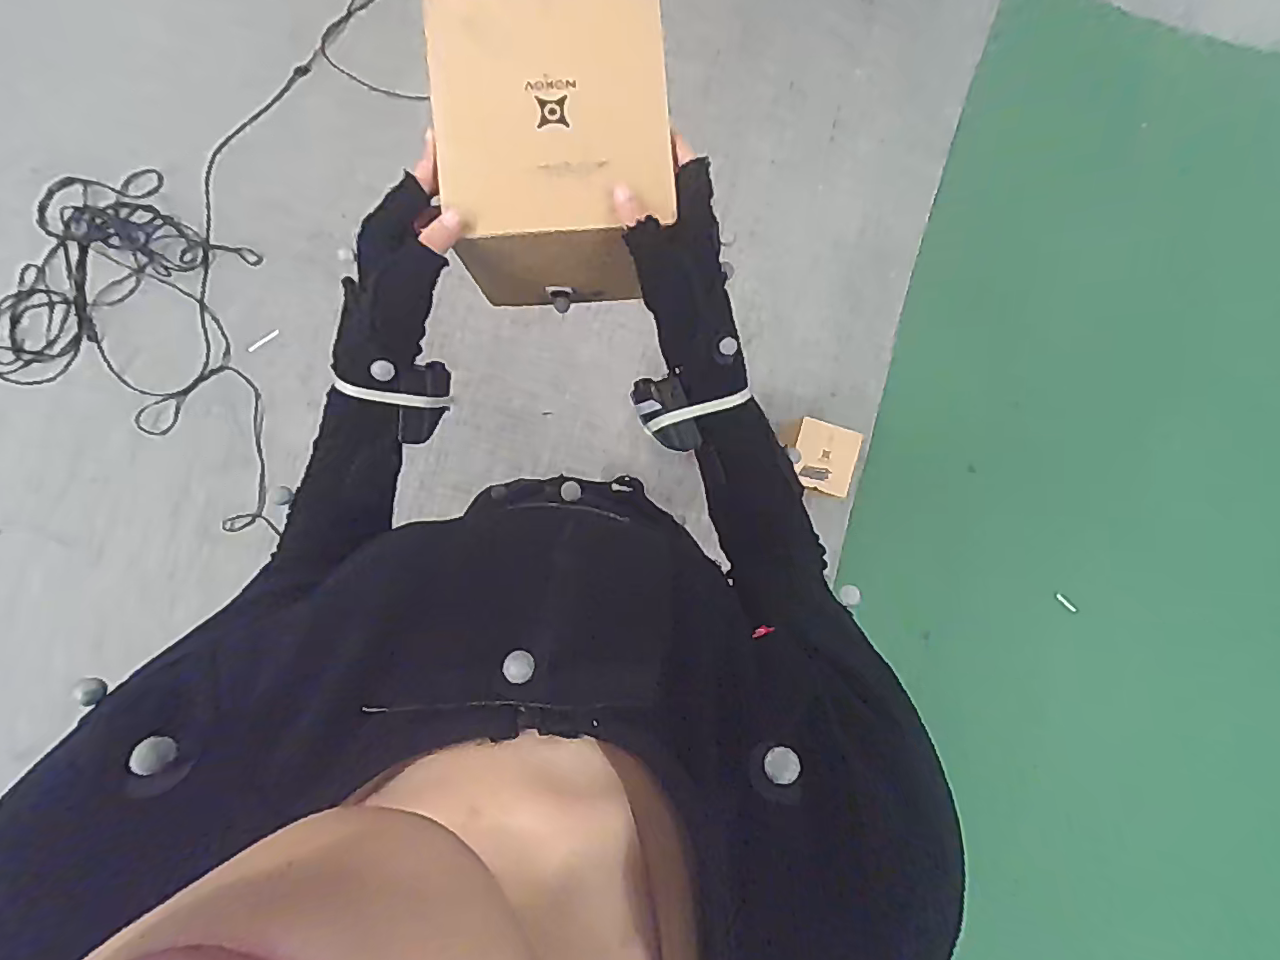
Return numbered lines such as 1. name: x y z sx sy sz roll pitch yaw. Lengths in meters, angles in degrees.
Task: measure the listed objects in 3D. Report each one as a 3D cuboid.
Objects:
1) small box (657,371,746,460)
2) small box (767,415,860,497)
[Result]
1. small box: 0.154 -0.163 1.428 0.168 0.176 0.179 22 89 -4
2. small box: 0.455 -0.060 1.451 0.168 0.176 0.179 17 88 -4
